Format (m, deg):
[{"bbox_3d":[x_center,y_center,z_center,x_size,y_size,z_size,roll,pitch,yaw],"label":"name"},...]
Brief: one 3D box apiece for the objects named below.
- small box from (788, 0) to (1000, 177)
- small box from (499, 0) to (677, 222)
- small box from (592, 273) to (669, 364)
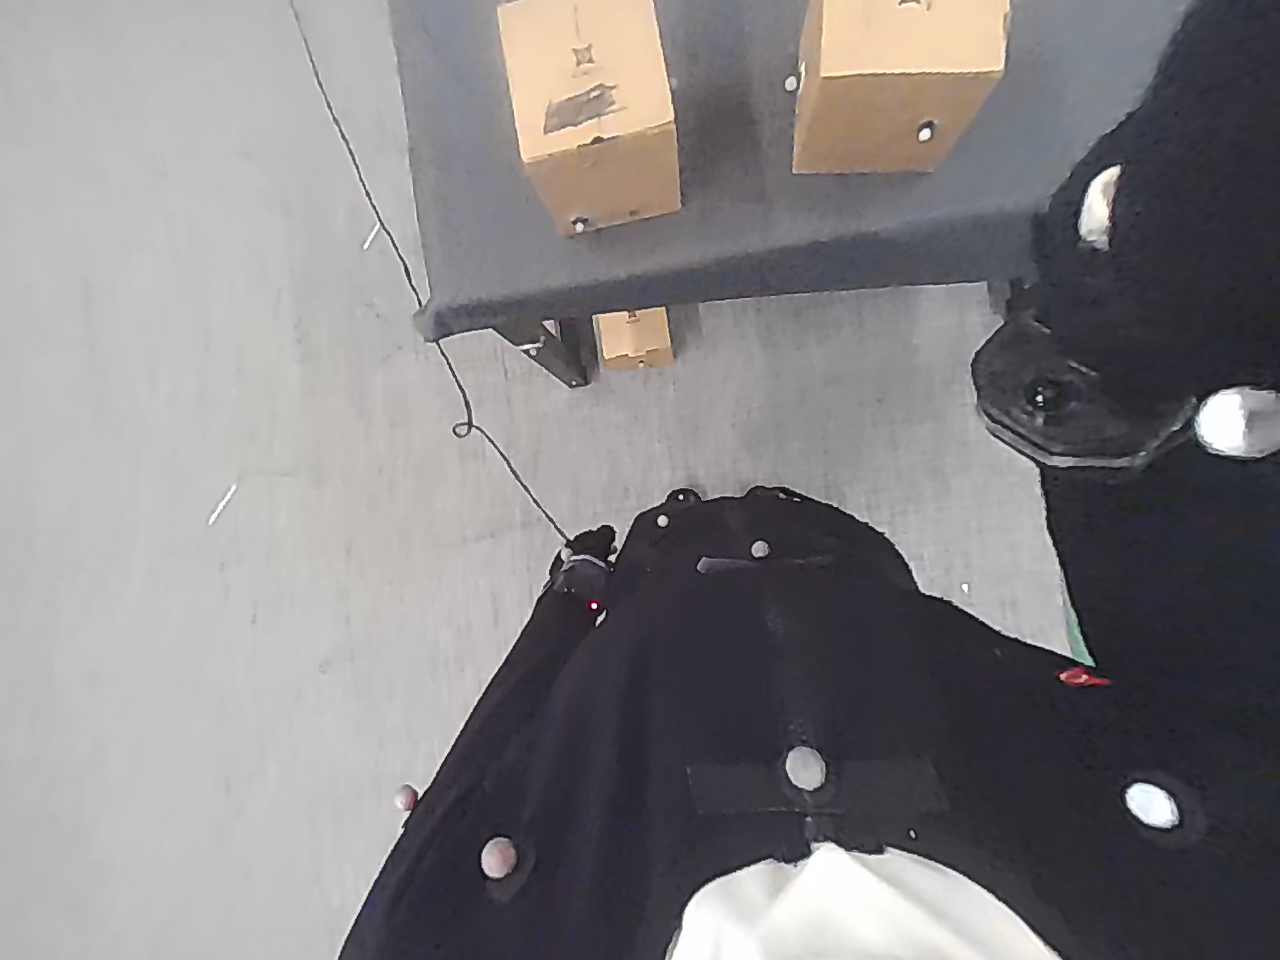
[{"bbox_3d":[0.277,-0.474,0.619,0.179,0.176,0.168,3,88,7],"label":"small box"},{"bbox_3d":[-0.050,-0.434,0.645,0.168,0.176,0.179,-9,87,5],"label":"small box"},{"bbox_3d":[-0.018,-0.400,1.377,0.168,0.176,0.179,-8,89,5],"label":"small box"}]
